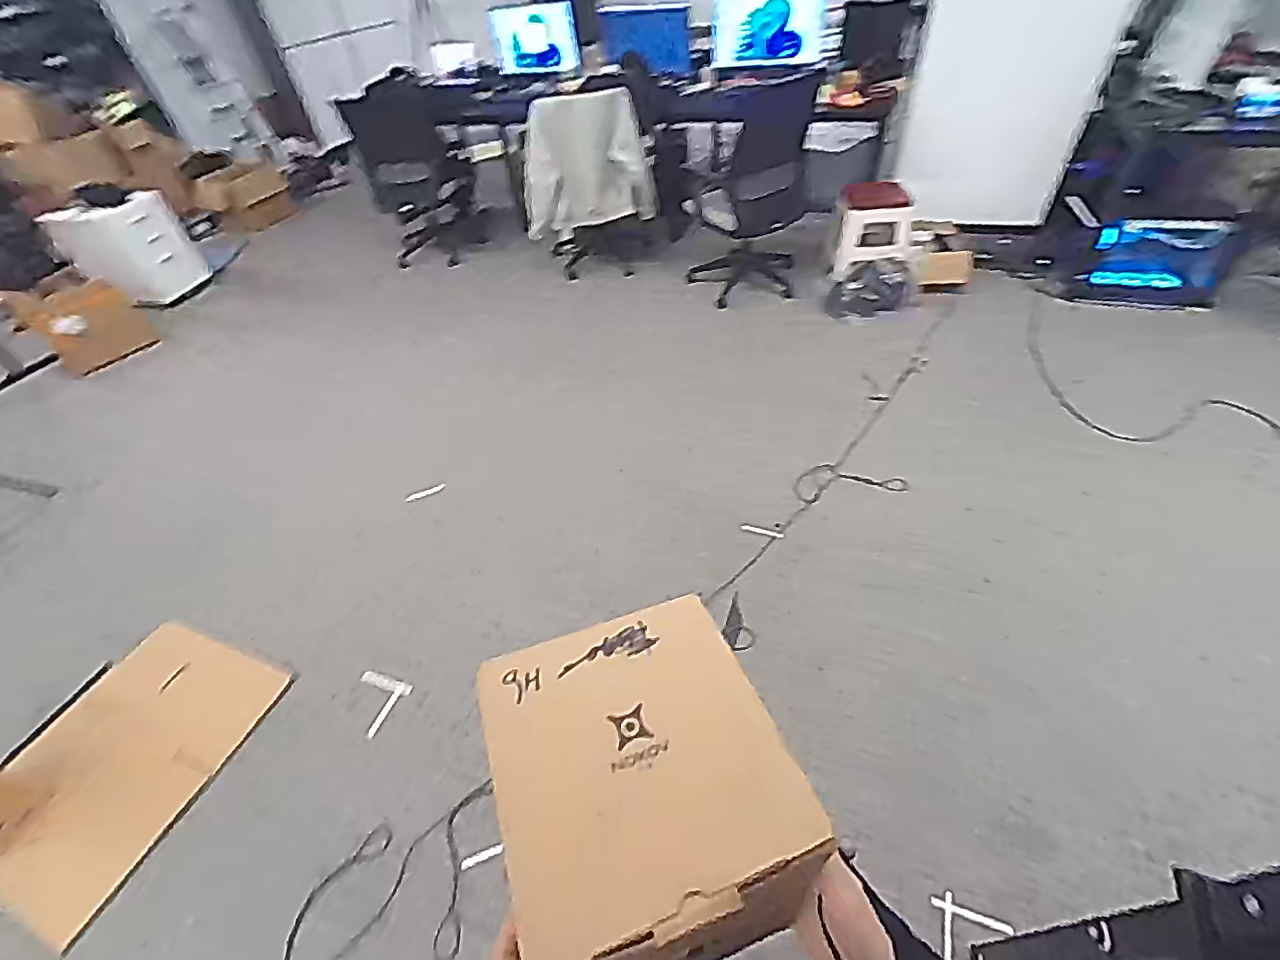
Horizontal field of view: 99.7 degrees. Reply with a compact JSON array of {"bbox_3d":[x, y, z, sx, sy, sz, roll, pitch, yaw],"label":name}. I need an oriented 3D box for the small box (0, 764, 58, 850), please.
[{"bbox_3d":[-1.693,0.829,1.387,0.179,0.176,0.168,6,48,13],"label":"small box"}]

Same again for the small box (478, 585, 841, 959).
[{"bbox_3d":[-0.001,0.208,0.365,0.168,0.176,0.179,-13,41,-17],"label":"small box"}]
